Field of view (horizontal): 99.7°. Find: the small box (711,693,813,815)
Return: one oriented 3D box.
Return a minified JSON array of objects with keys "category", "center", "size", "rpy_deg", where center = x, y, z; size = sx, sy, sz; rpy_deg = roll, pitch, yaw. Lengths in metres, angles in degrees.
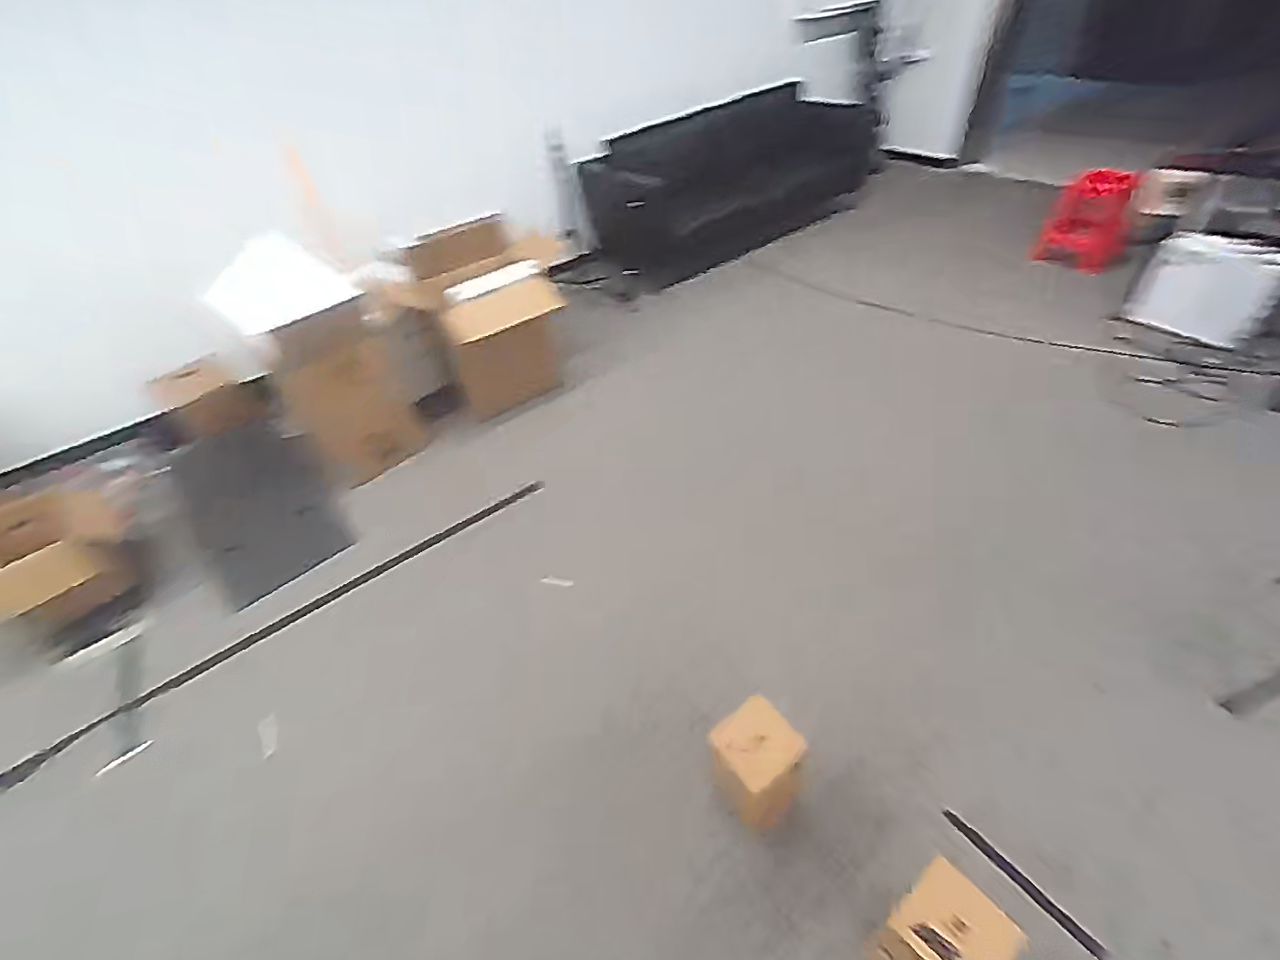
[{"category":"small box","center":[0.287,0.658,1.299],"size":[0.179,0.176,0.168],"rpy_deg":[-29,45,-20]}]

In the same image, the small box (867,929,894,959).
[{"category":"small box","center":[0.599,1.000,1.129],"size":[0.179,0.176,0.168],"rpy_deg":[-31,48,-24]}]

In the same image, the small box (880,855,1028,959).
[{"category":"small box","center":[0.582,0.872,1.027],"size":[0.179,0.176,0.168],"rpy_deg":[-31,47,-25]}]
